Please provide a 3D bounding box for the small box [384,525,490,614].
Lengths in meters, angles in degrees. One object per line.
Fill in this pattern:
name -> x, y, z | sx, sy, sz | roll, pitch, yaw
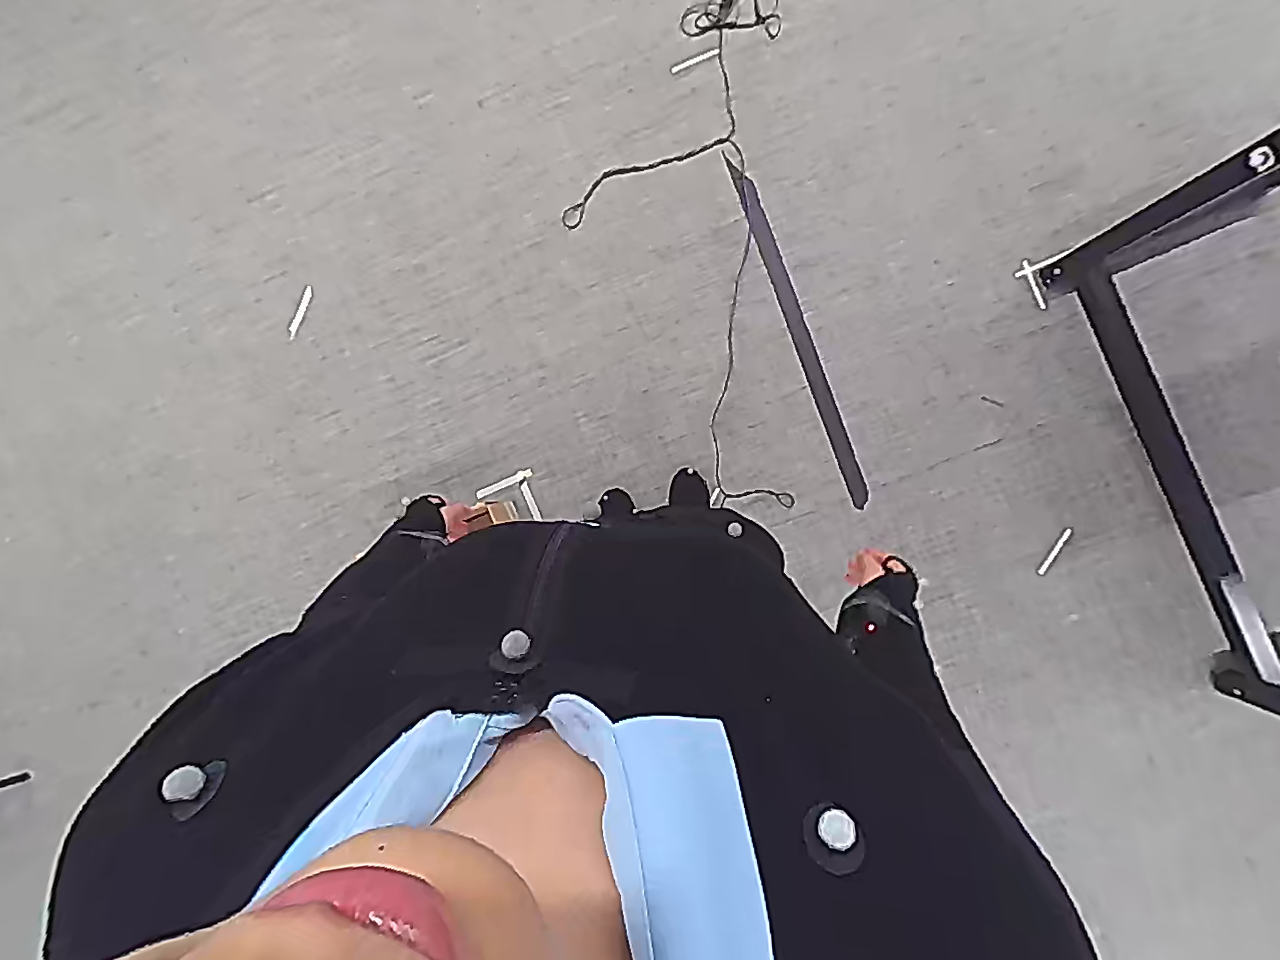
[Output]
small box -> -0.525, 0.228, 1.421 | 0.179, 0.176, 0.168 | -23, 90, 3
